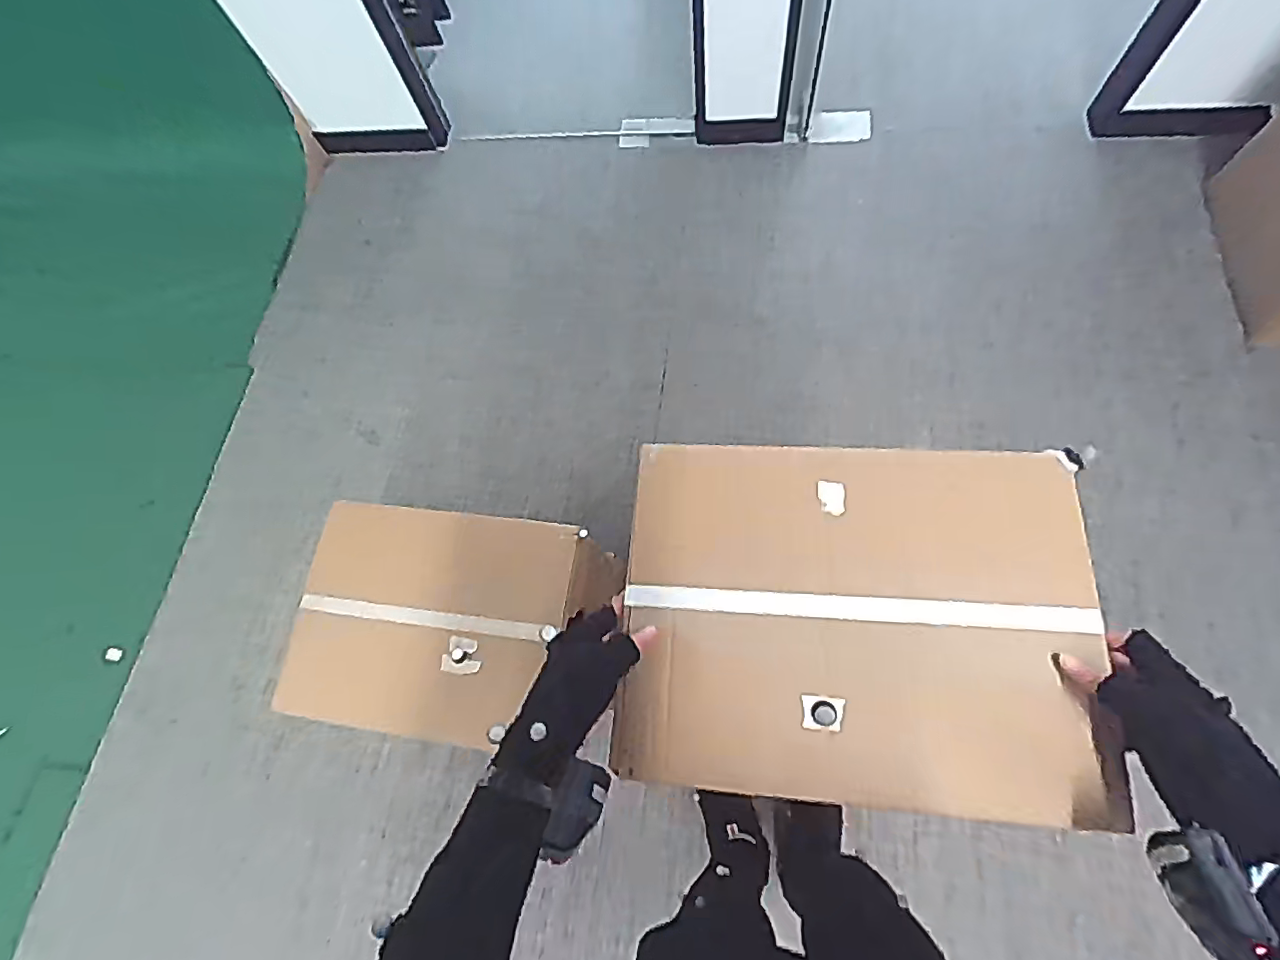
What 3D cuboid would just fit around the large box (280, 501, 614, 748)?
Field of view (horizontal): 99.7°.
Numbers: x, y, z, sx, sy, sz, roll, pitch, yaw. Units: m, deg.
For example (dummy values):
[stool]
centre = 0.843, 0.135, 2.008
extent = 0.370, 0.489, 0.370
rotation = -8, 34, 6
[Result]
[large box]
centre = -0.281, 0.241, 0.920
extent = 0.408, 0.320, 0.320
rotation = 6, 73, 8
